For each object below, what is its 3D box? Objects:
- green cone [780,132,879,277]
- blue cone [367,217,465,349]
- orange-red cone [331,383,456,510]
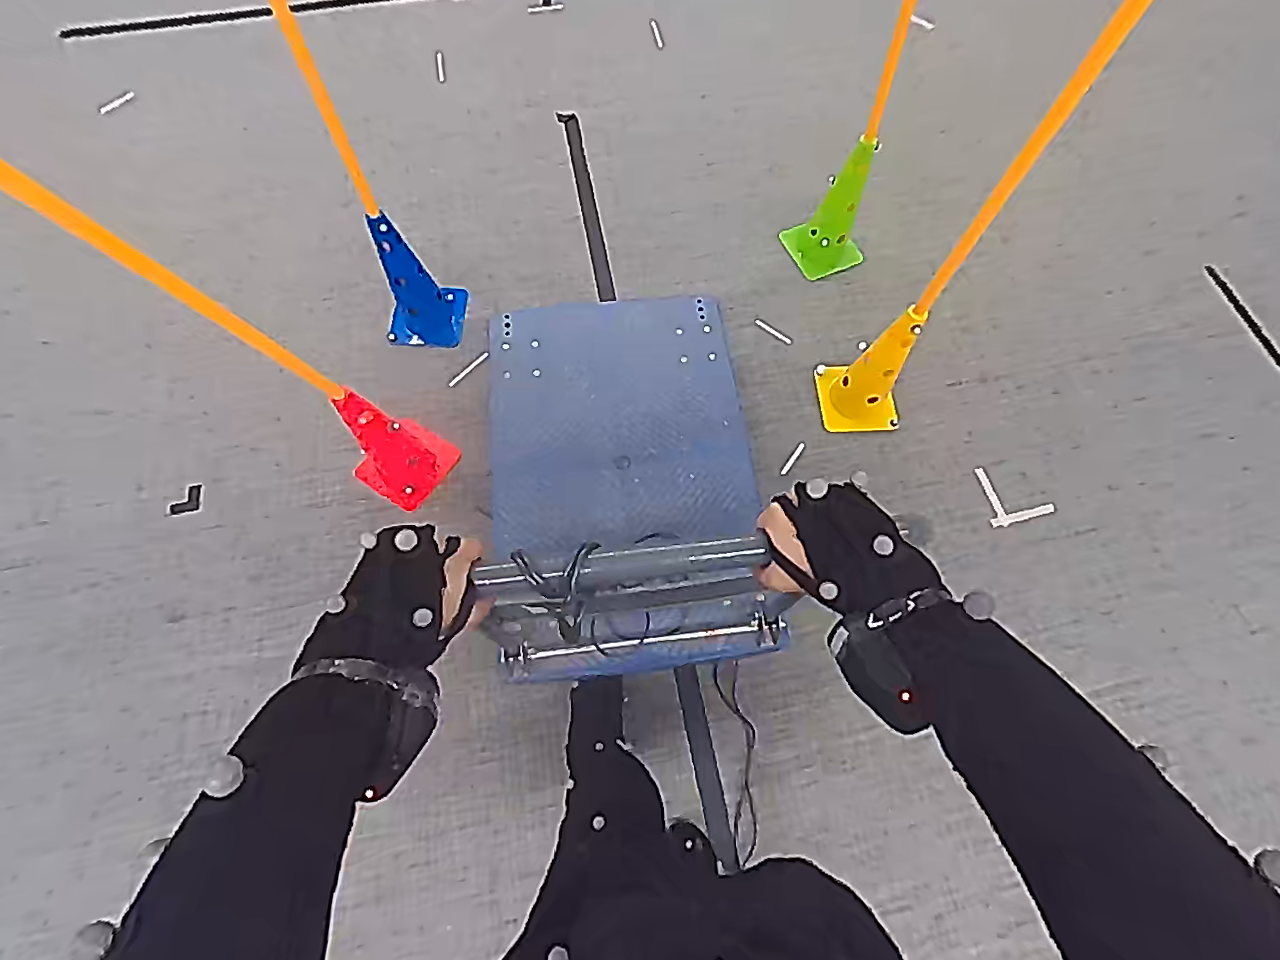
[{"bbox_3d":[0.553,-0.775,1.482,0.200,0.368,0.202,-24,72,-10],"label":"green cone"},{"bbox_3d":[-0.594,-0.515,1.377,0.193,0.380,0.192,4,69,0],"label":"blue cone"},{"bbox_3d":[-0.584,-0.107,1.203,0.198,0.360,0.199,32,70,10],"label":"orange-red cone"}]
